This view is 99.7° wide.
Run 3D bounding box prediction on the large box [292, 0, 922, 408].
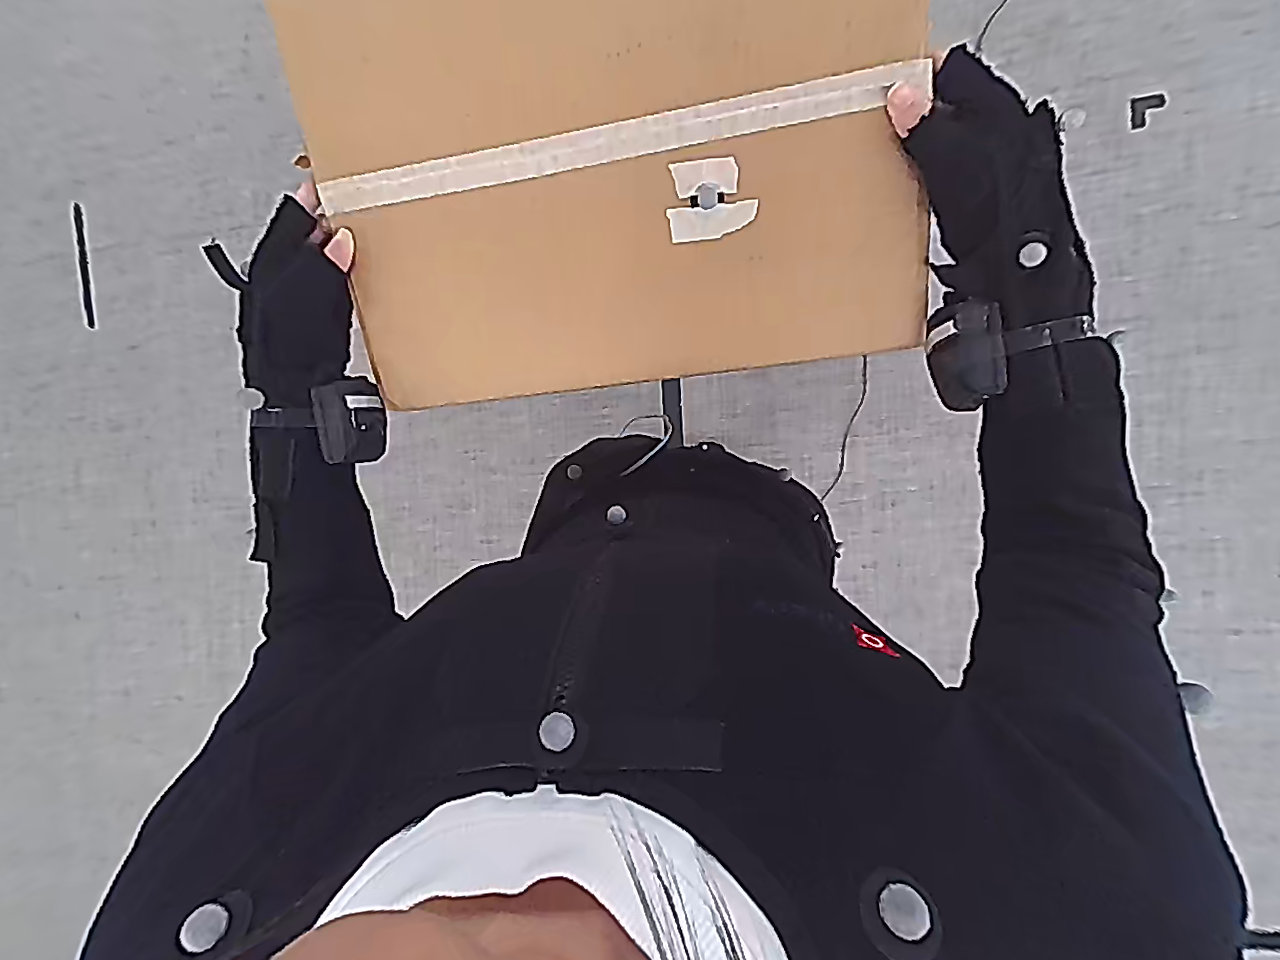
[{"bbox_3d":[-0.005,-0.271,0.509,0.408,0.320,0.320,-6,108,8],"label":"large box"}]
